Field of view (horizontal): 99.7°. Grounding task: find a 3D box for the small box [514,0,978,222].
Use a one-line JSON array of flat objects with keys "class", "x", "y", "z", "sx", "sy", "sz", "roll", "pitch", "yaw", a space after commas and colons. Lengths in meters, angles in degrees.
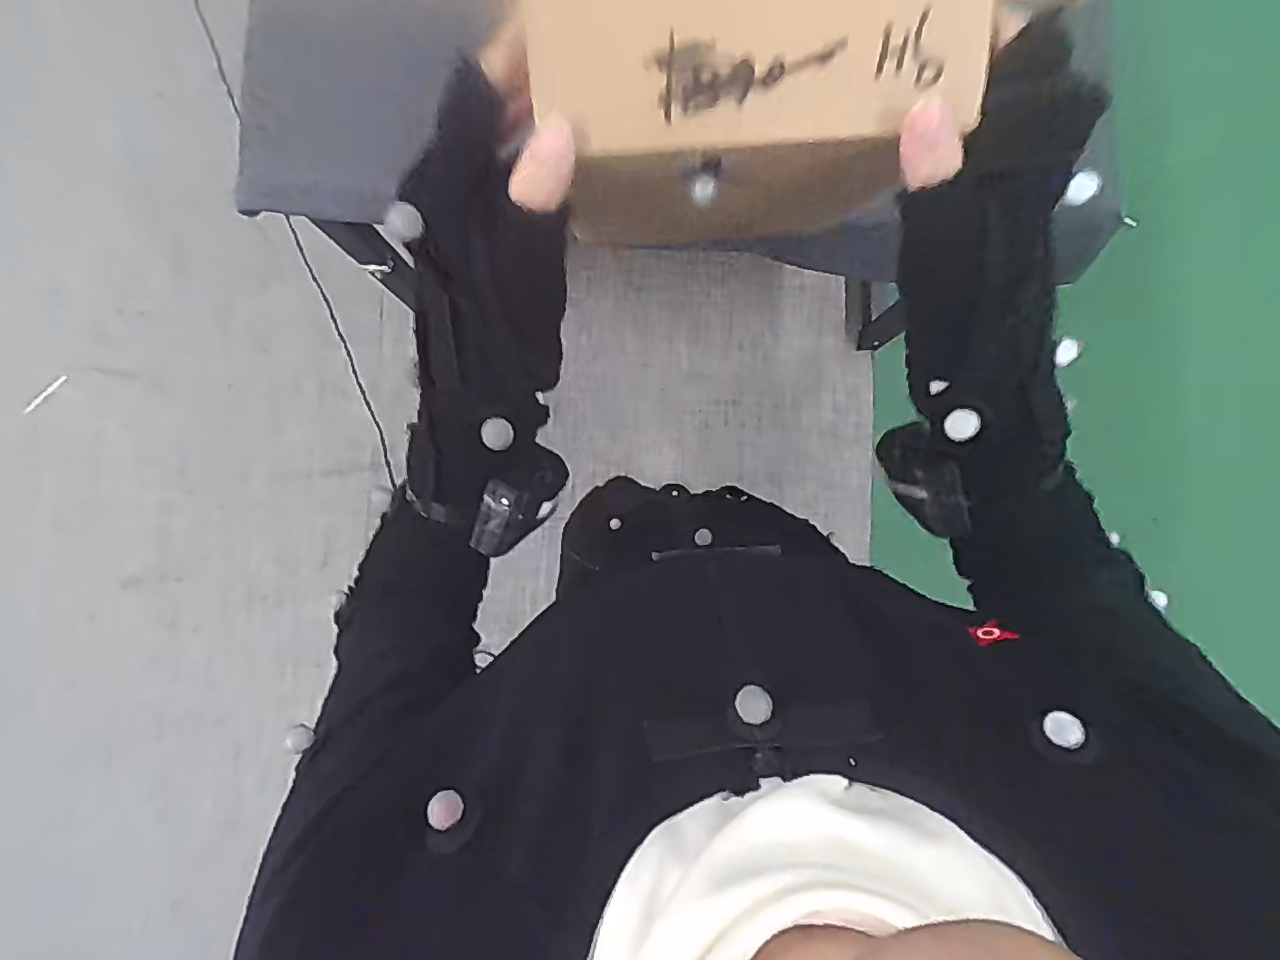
[{"class": "small box", "x": 0.033, "y": -0.237, "z": 0.255, "sx": 0.168, "sy": 0.176, "sz": 0.179, "roll": -3, "pitch": 104, "yaw": 0}]
